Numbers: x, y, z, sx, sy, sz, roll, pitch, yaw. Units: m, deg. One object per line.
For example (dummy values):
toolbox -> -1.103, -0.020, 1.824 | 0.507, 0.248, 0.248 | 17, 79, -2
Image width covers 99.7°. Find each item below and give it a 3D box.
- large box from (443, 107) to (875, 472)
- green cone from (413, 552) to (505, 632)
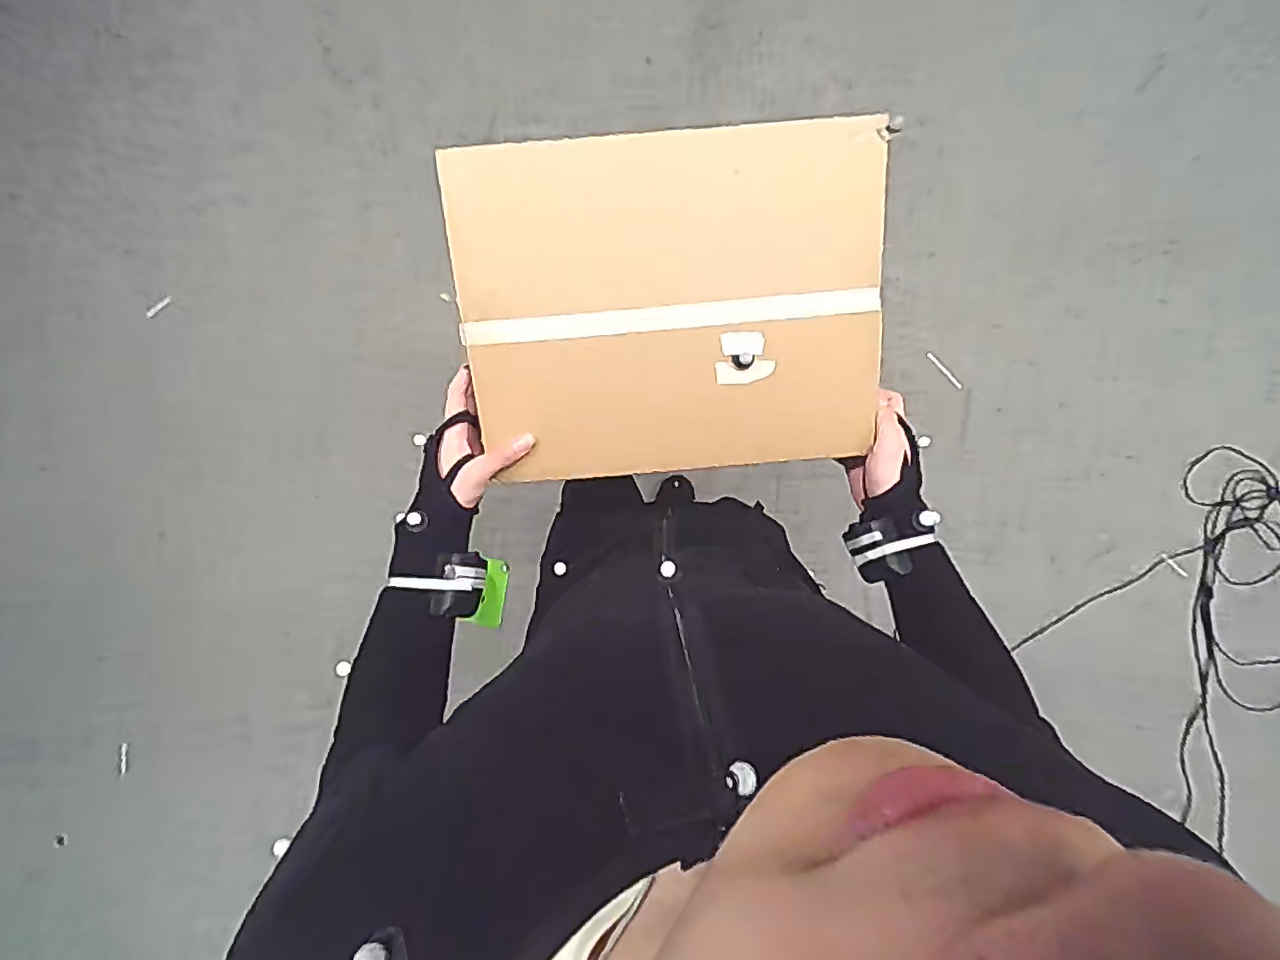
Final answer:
large box -> 0.024, -0.214, 0.673 | 0.408, 0.320, 0.320 | -5, 107, -1
green cone -> -0.521, 0.331, 1.465 | 0.200, 0.368, 0.202 | 9, 92, 1
